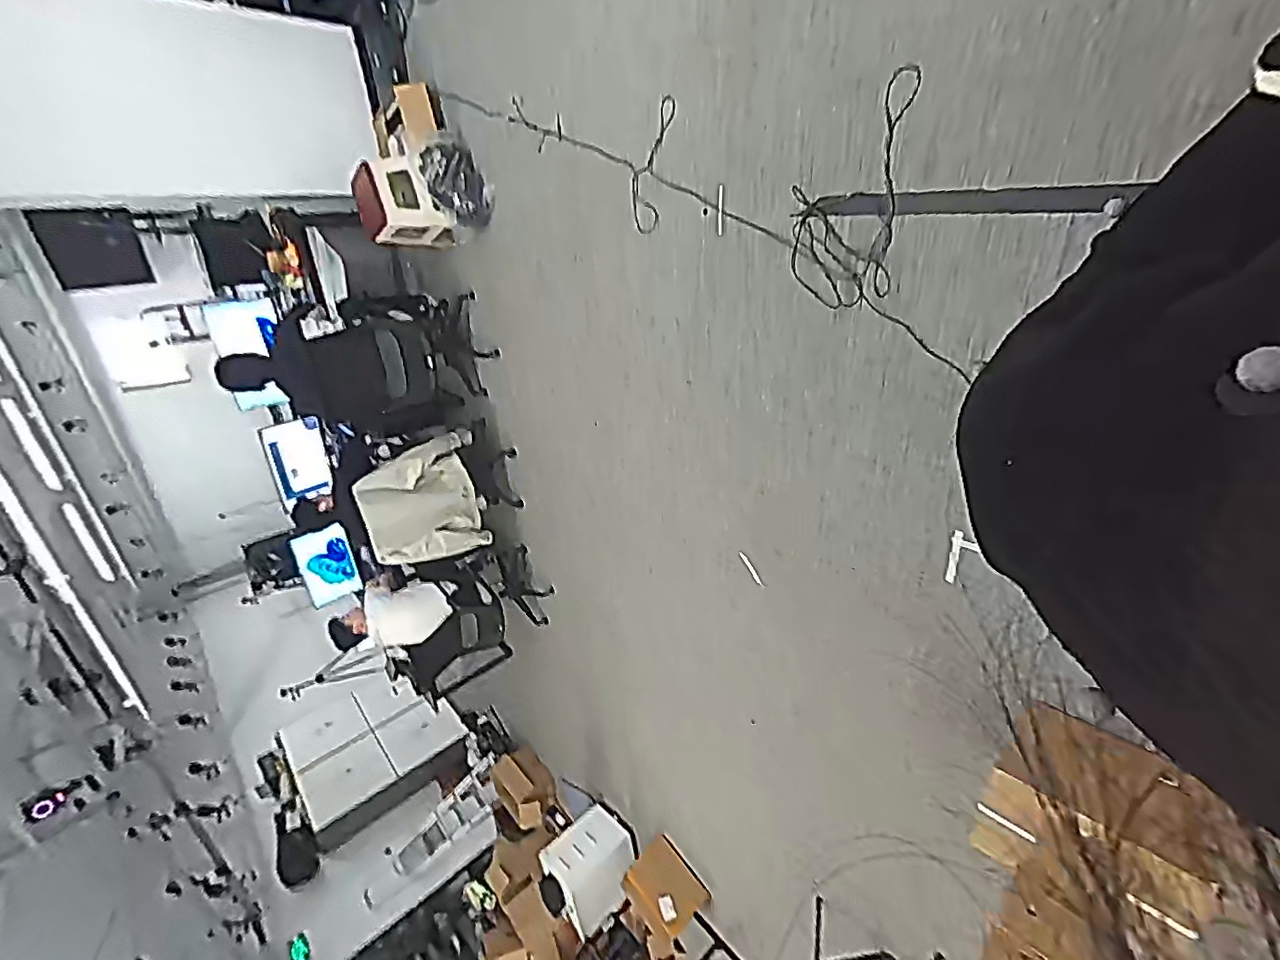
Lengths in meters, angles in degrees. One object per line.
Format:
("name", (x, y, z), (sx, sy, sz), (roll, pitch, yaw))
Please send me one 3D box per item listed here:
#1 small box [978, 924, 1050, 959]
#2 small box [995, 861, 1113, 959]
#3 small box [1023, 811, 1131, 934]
("small box", (0.728, 1.012, 1.024), (0.168, 0.176, 0.179), (16, 120, 48))
("small box", (0.847, 0.953, 1.123), (0.168, 0.176, 0.179), (20, 125, 45))
("small box", (0.969, 0.906, 1.218), (0.168, 0.176, 0.179), (21, 124, 43))
